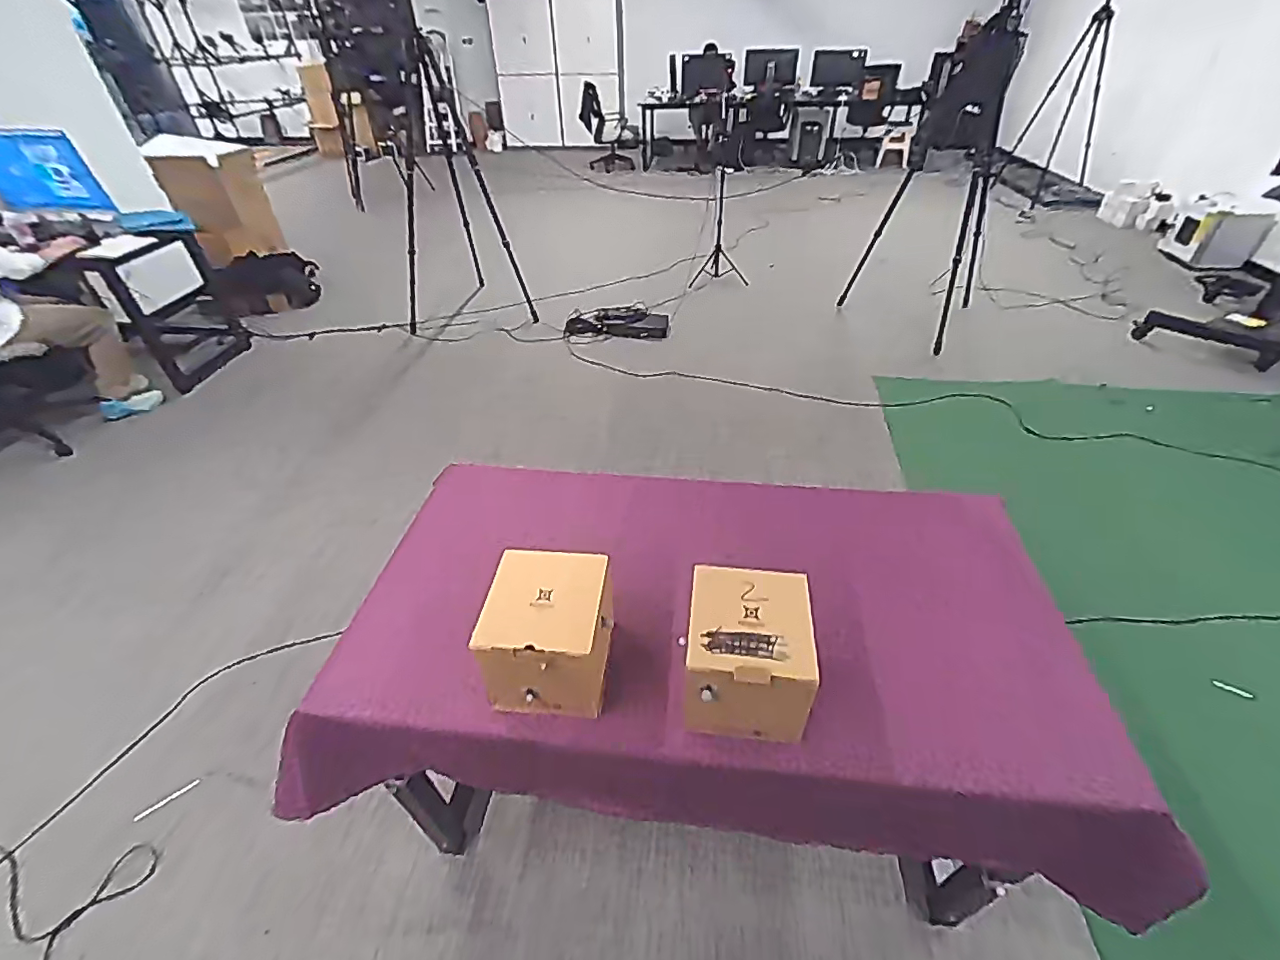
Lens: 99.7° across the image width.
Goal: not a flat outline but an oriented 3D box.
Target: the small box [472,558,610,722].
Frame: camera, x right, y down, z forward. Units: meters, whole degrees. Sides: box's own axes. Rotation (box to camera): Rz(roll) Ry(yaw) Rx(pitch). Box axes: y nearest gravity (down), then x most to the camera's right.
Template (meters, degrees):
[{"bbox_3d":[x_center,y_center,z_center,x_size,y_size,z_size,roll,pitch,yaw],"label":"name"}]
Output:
[{"bbox_3d":[-0.138,0.244,0.835,0.168,0.176,0.179,2,41,5],"label":"small box"}]
